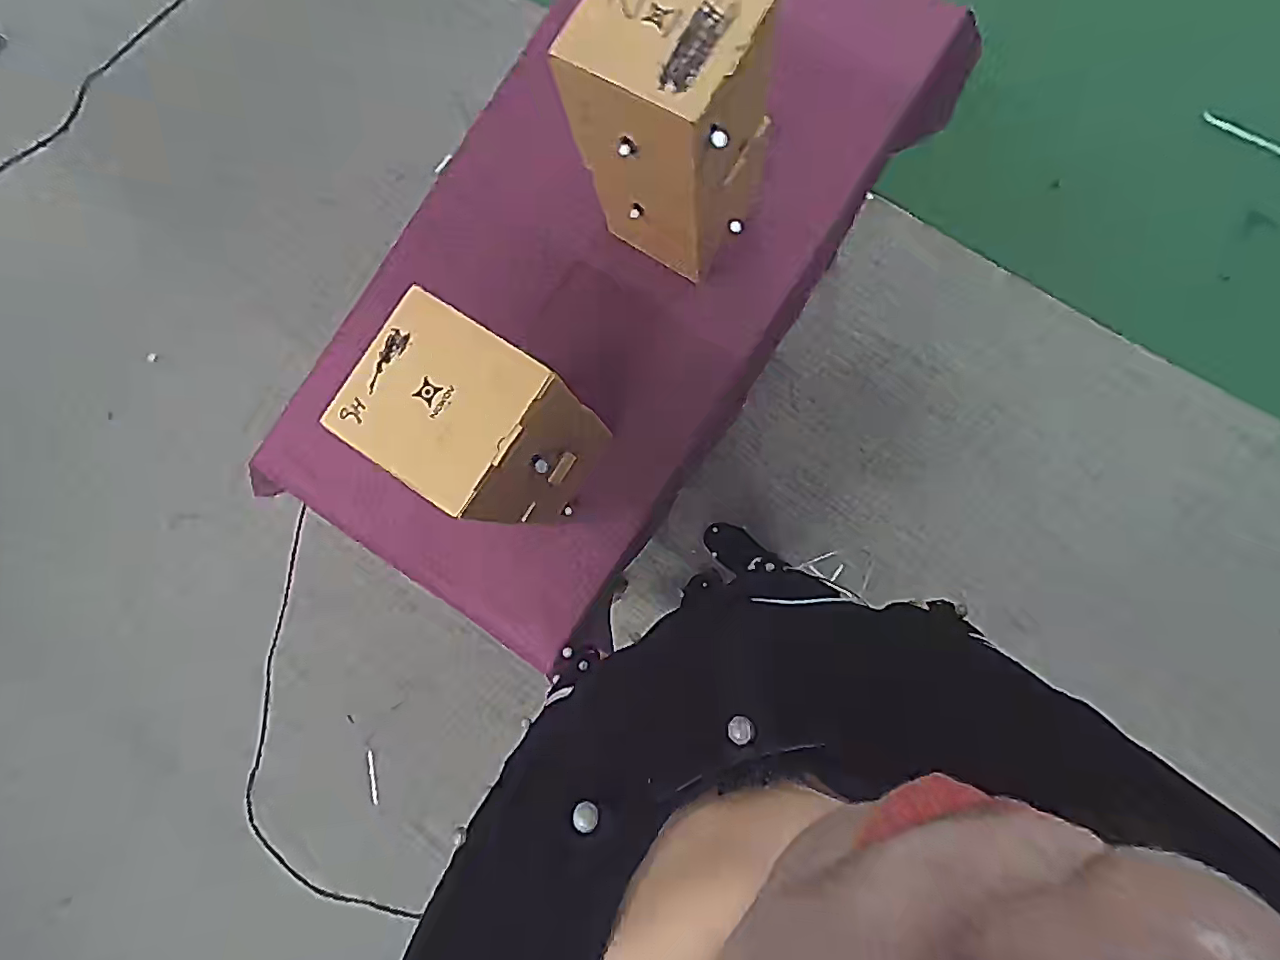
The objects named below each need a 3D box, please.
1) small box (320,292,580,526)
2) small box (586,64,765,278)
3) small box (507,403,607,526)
[{"bbox_3d":[-0.188,-0.064,0.593,0.179,0.176,0.168,33,88,8],"label":"small box"},{"bbox_3d":[0.053,-0.423,0.770,0.179,0.176,0.168,34,89,9],"label":"small box"},{"bbox_3d":[-0.166,-0.049,0.756,0.179,0.176,0.168,31,88,10],"label":"small box"}]
